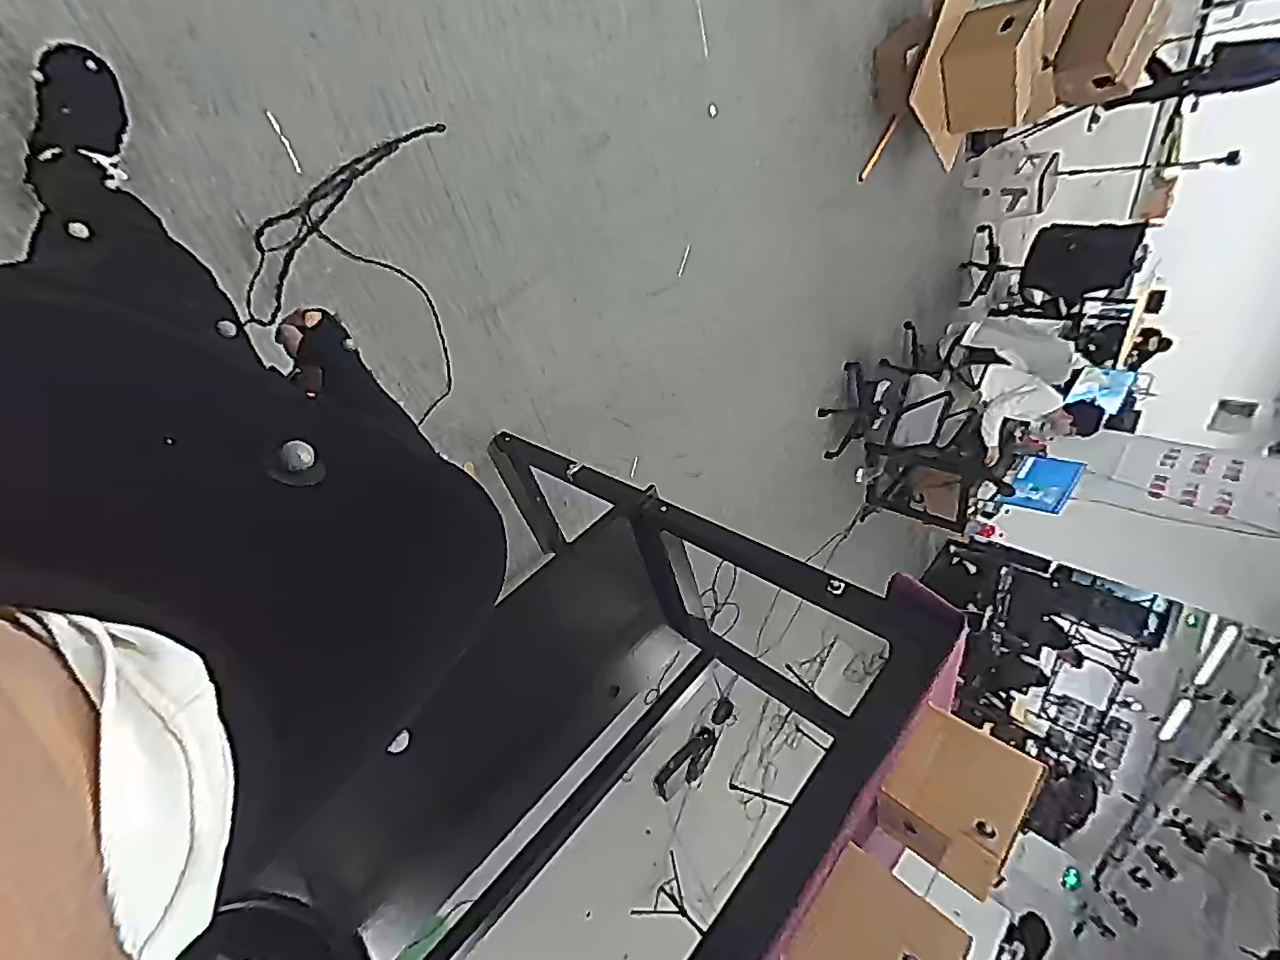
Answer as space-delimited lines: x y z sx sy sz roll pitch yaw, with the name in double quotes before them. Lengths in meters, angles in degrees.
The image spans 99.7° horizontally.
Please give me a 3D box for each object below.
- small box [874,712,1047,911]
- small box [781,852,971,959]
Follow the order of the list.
"small box" 0.486 0.500 0.836 0.179 0.176 0.168 -41 133 -24
"small box" 0.305 0.652 0.721 0.179 0.176 0.168 -37 131 -28
